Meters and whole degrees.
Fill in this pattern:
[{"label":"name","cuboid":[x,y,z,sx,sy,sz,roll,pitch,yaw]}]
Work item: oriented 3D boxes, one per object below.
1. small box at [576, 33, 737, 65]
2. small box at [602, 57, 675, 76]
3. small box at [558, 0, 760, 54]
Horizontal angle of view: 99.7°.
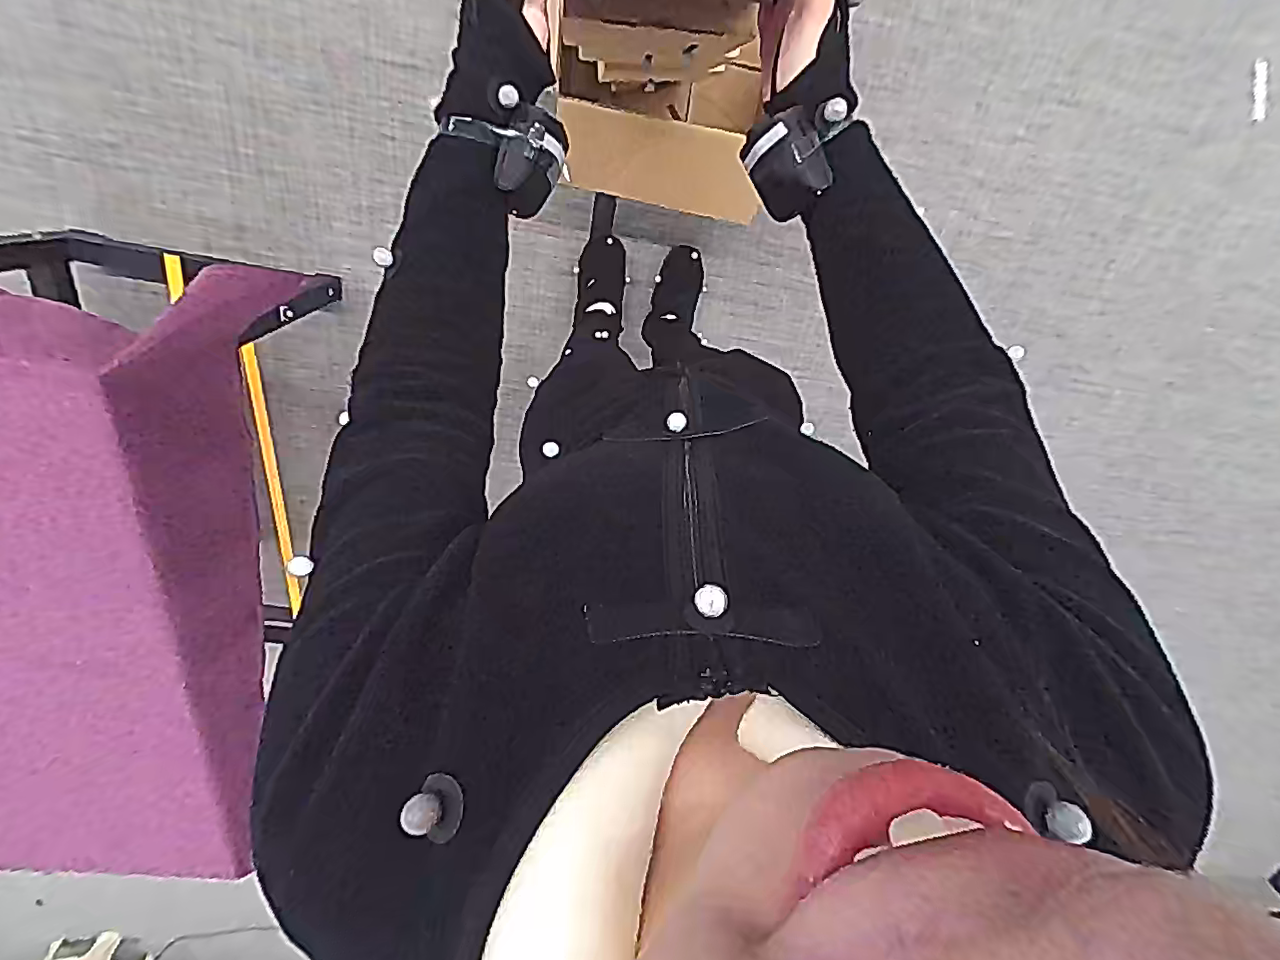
[{"label":"small box","cuboid":[0.017,-0.575,0.600,0.179,0.176,0.168,0,124,-7]},{"label":"small box","cuboid":[0.016,-0.769,0.867,0.179,0.176,0.168,-12,123,0]},{"label":"small box","cuboid":[0.015,-0.487,0.461,0.168,0.176,0.179,0,123,-8]}]
